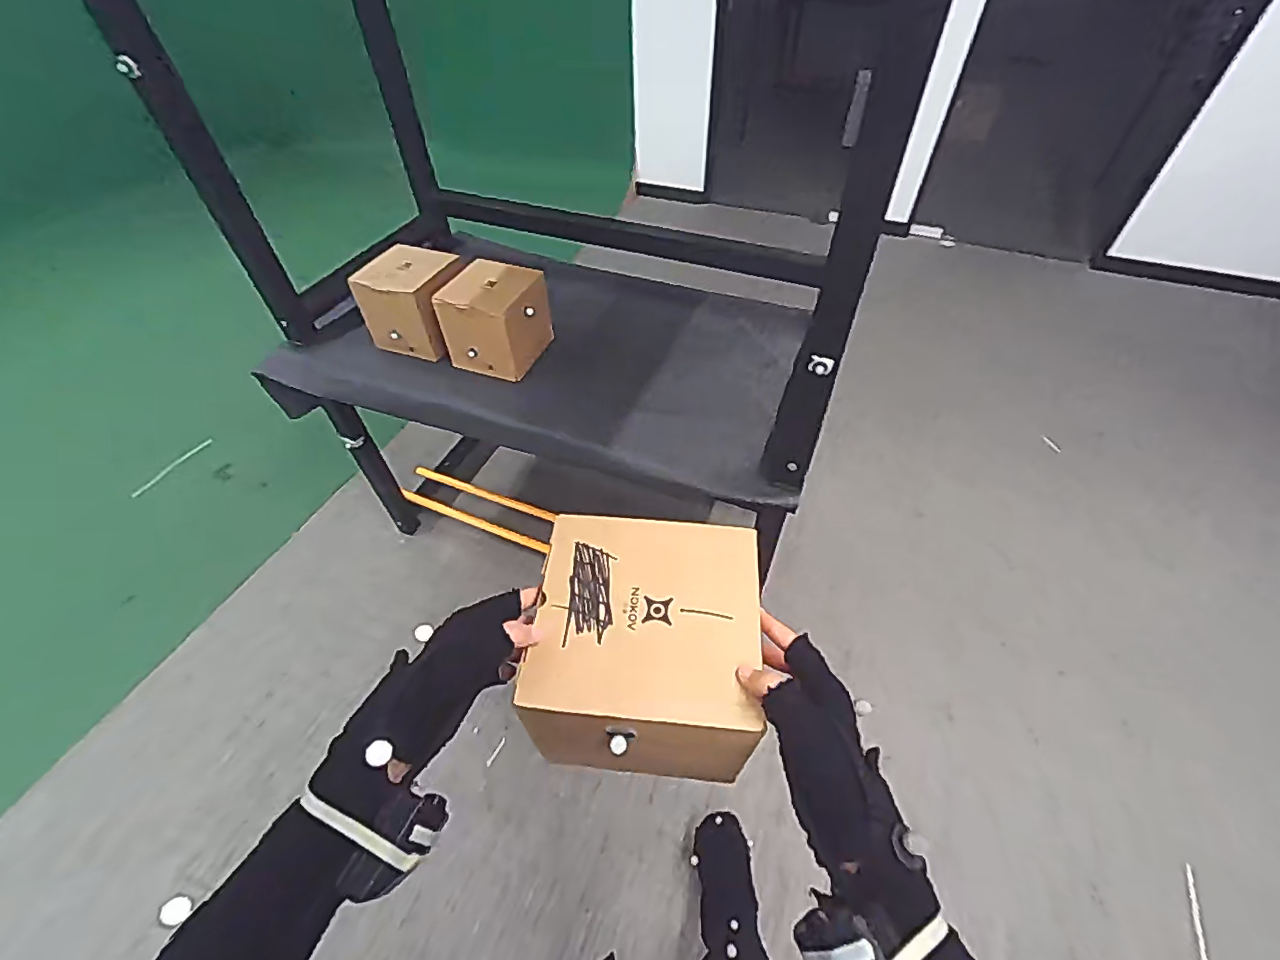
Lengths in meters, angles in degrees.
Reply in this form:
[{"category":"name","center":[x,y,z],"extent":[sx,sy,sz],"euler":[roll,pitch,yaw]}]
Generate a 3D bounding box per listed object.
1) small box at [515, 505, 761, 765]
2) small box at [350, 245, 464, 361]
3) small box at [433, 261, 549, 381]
[{"category":"small box","center":[0.005,0.142,0.485],"extent":[0.179,0.176,0.168],"euler":[5,50,3]},{"category":"small box","center":[-0.501,-0.397,1.216],"extent":[0.168,0.176,0.179],"euler":[16,51,14]},{"category":"small box","center":[-0.310,-0.344,1.171],"extent":[0.168,0.176,0.179],"euler":[16,51,14]}]
